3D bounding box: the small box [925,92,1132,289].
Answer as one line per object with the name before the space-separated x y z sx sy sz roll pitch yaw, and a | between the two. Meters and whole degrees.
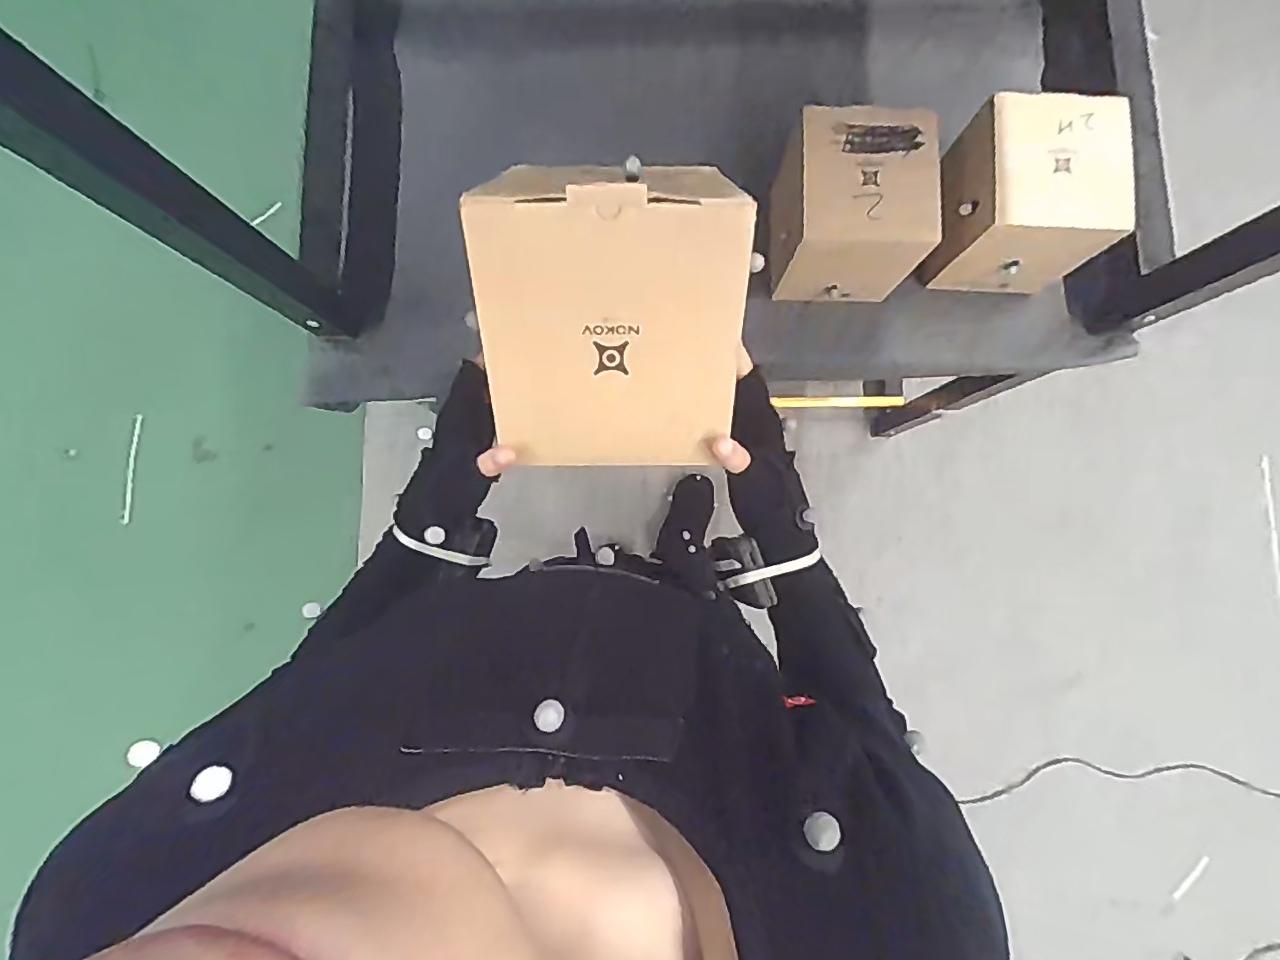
small box | 0.508 -0.376 0.731 0.168 0.176 0.179 3 83 1
